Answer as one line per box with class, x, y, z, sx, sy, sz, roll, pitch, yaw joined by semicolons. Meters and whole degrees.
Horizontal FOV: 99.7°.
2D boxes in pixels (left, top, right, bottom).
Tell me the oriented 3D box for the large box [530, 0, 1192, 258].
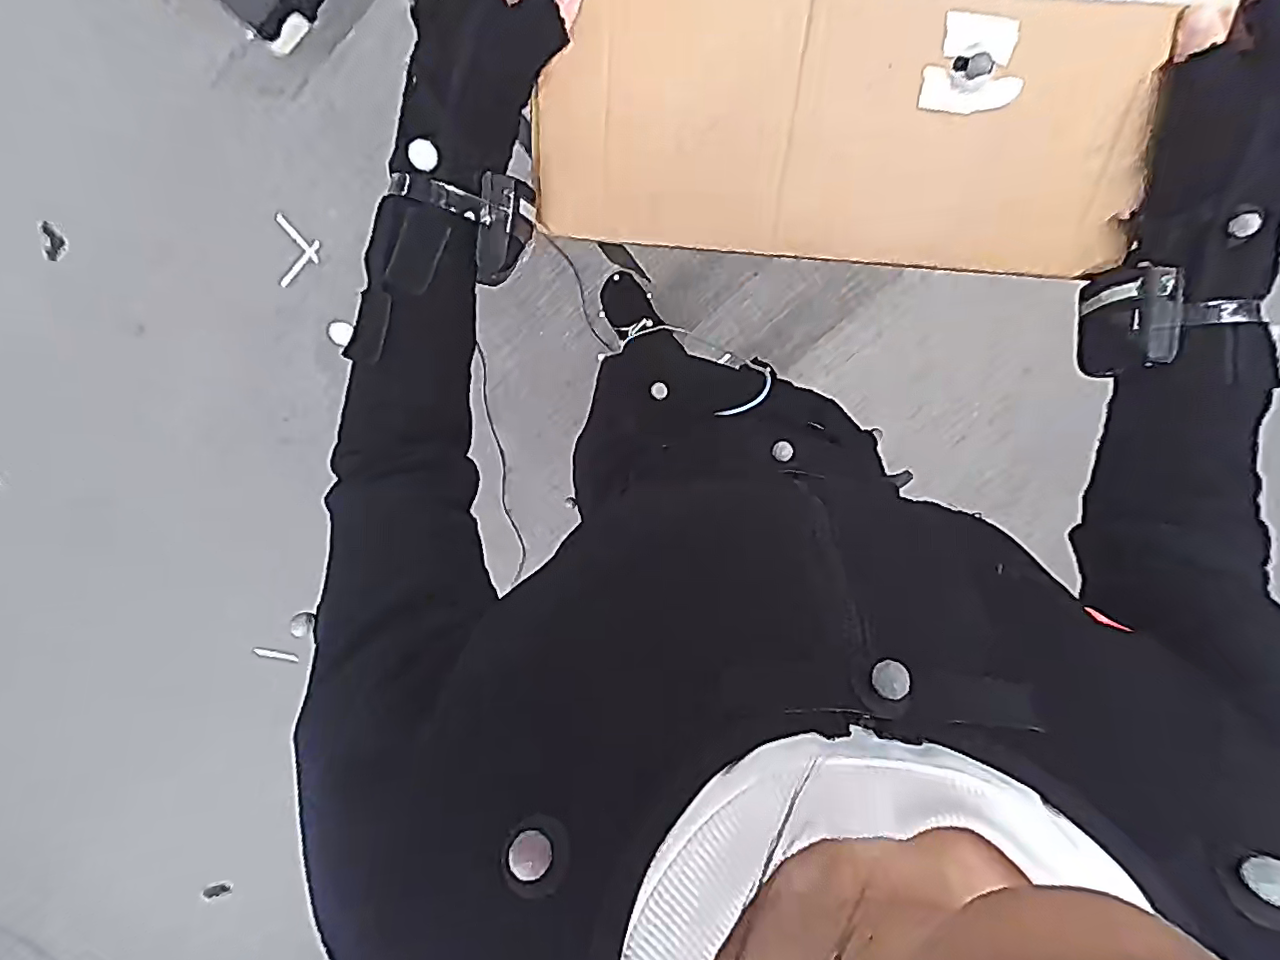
large box;0.135;-0.371;0.455;0.408;0.320;0.320;4;117;1
